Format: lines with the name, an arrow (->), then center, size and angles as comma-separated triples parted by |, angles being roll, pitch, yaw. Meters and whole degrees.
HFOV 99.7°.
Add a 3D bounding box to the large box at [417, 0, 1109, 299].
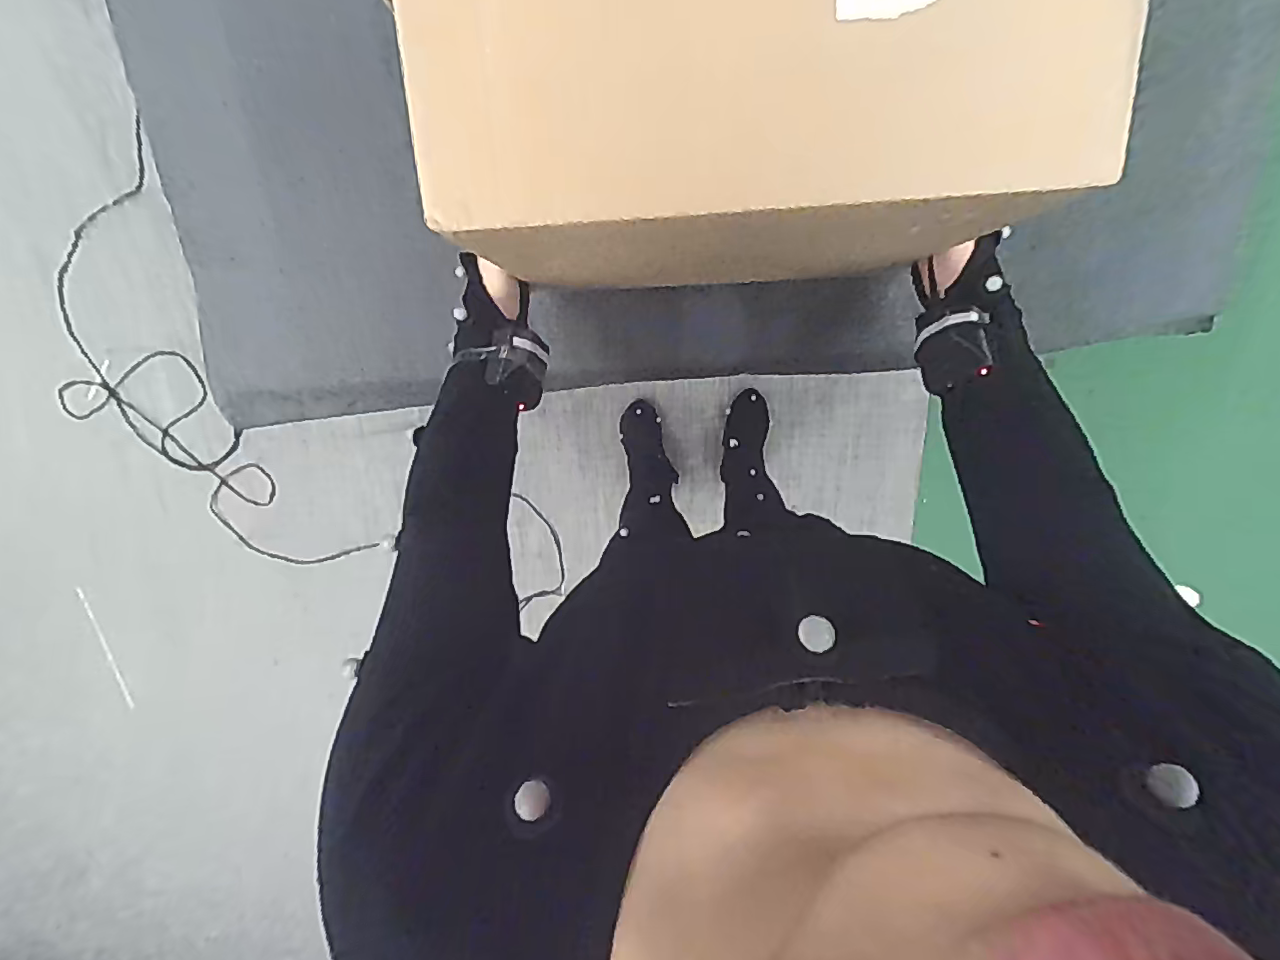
large box -> 0.068, -0.346, 0.452 | 0.408, 0.320, 0.320 | -3, 102, 3
